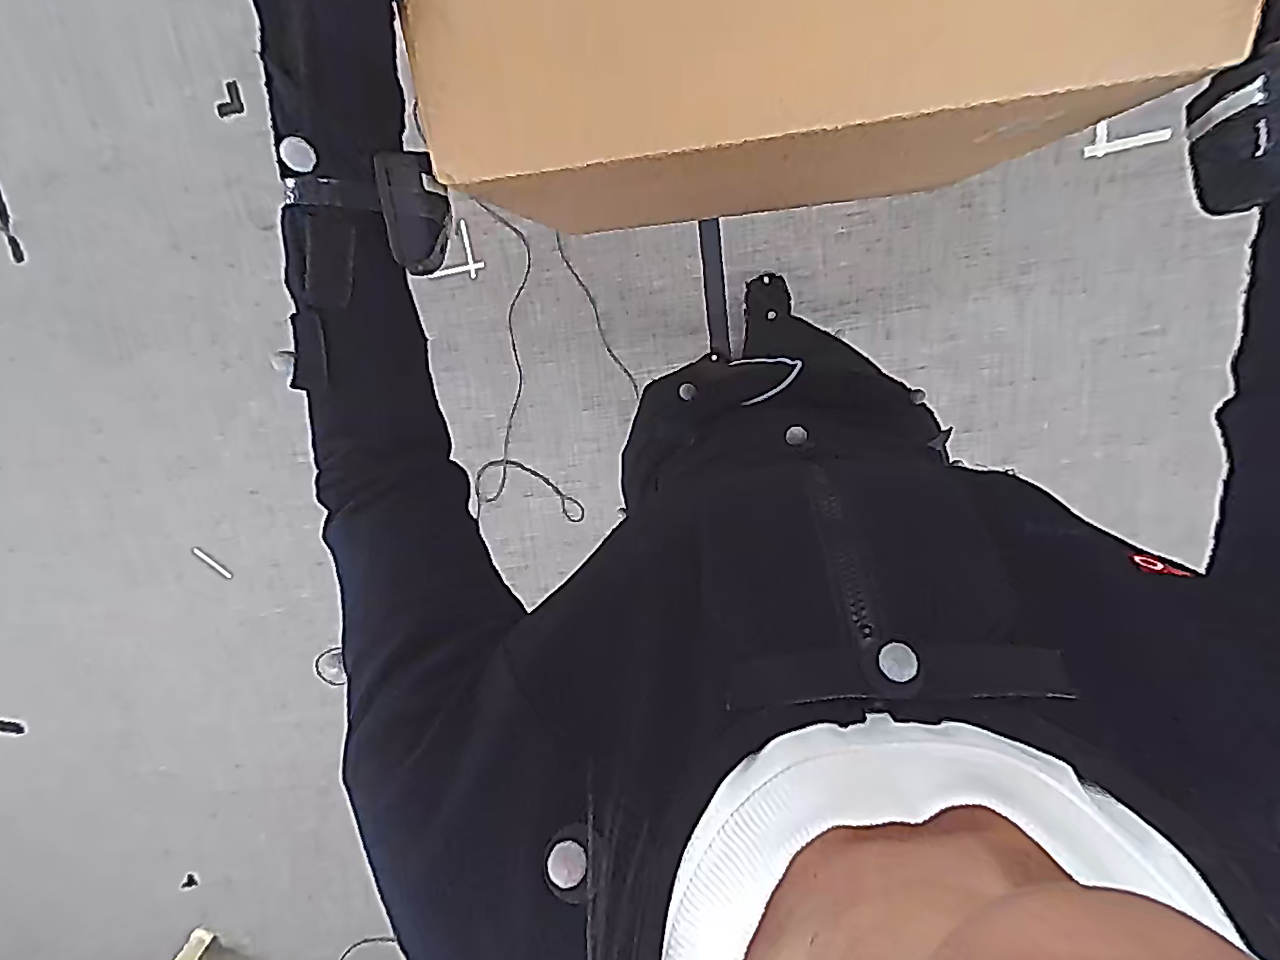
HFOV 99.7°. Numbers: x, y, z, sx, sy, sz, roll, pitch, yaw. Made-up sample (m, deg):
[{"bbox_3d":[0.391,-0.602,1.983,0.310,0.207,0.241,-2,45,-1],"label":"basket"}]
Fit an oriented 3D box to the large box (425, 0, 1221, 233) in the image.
[{"bbox_3d":[0.081,-0.387,0.387,0.408,0.320,0.320,-5,109,6],"label":"large box"}]
